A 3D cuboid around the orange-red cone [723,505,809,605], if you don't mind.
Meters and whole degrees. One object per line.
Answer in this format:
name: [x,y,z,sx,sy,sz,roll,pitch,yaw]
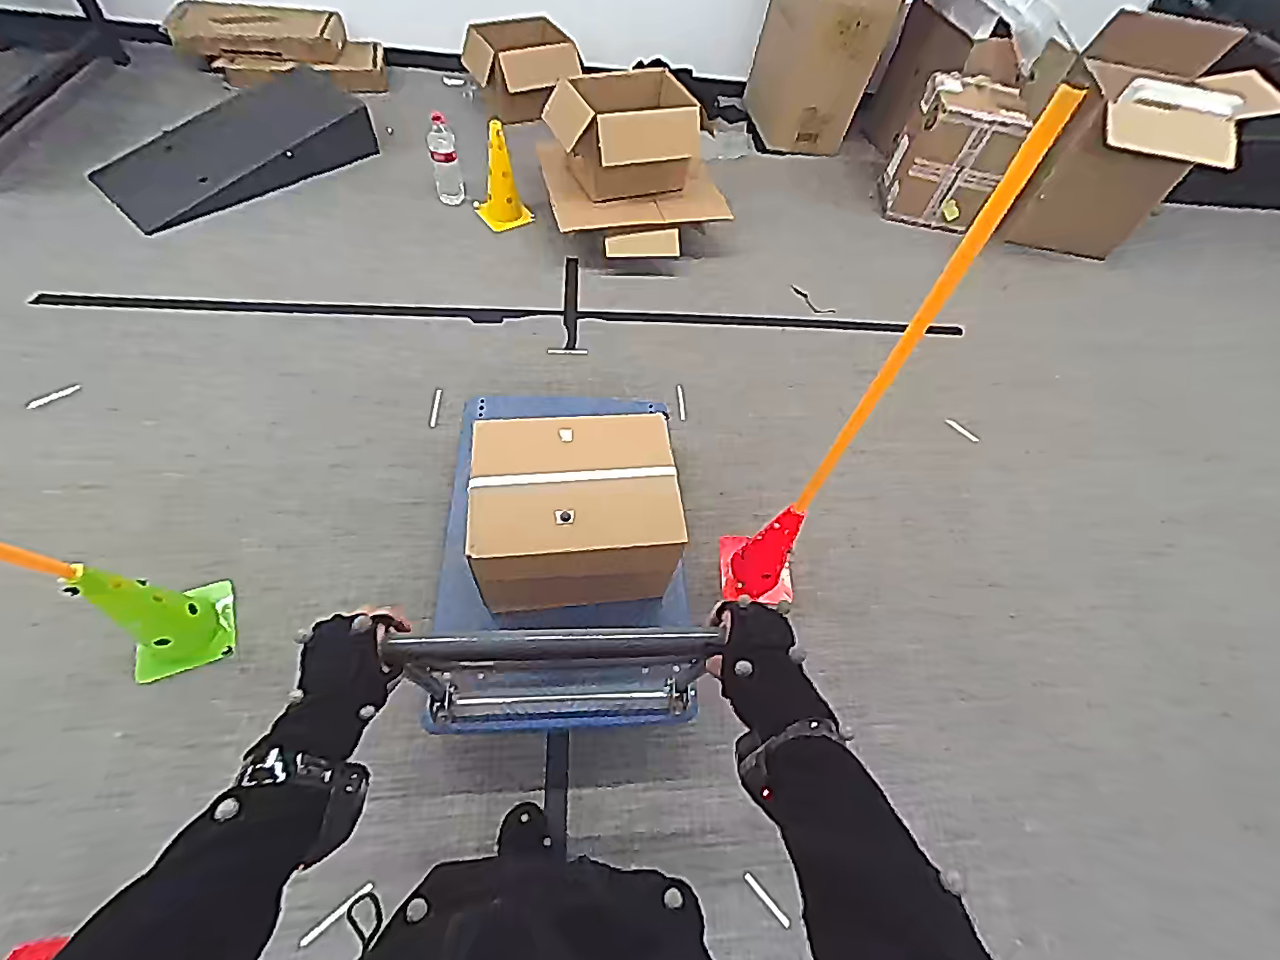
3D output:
orange-red cone: [0.352,0.162,1.382,0.199,0.360,0.198,6,58,-5]
